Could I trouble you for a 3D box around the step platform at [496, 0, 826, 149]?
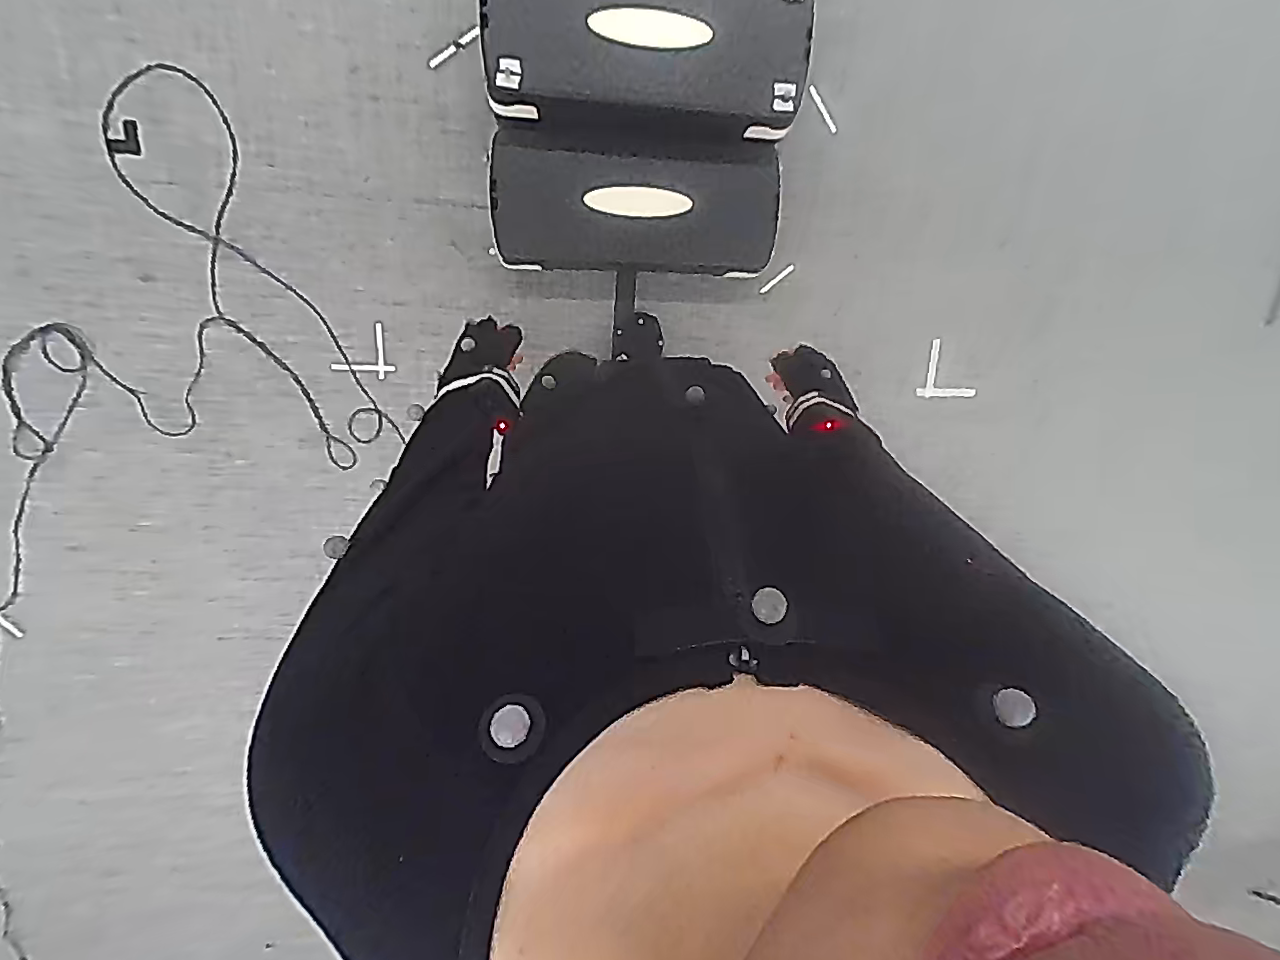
[{"bbox_3d":[0.042,-0.919,1.161,0.684,0.204,0.286,0,105,-7],"label":"step platform"}]
